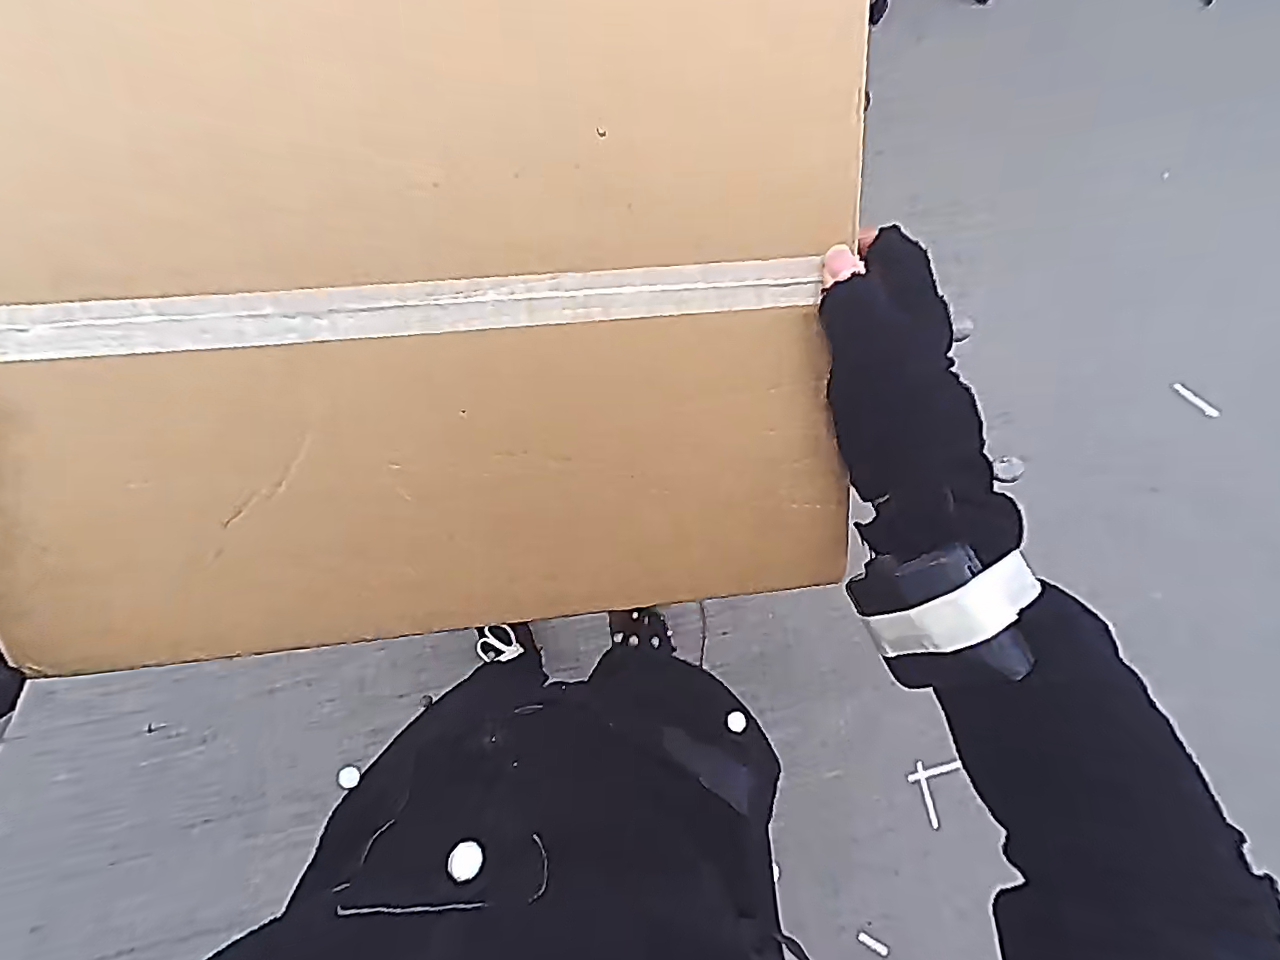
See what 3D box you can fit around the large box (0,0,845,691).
[{"bbox_3d":[-0.116,-0.103,0.388,0.408,0.320,0.320,-6,106,-6],"label":"large box"}]
